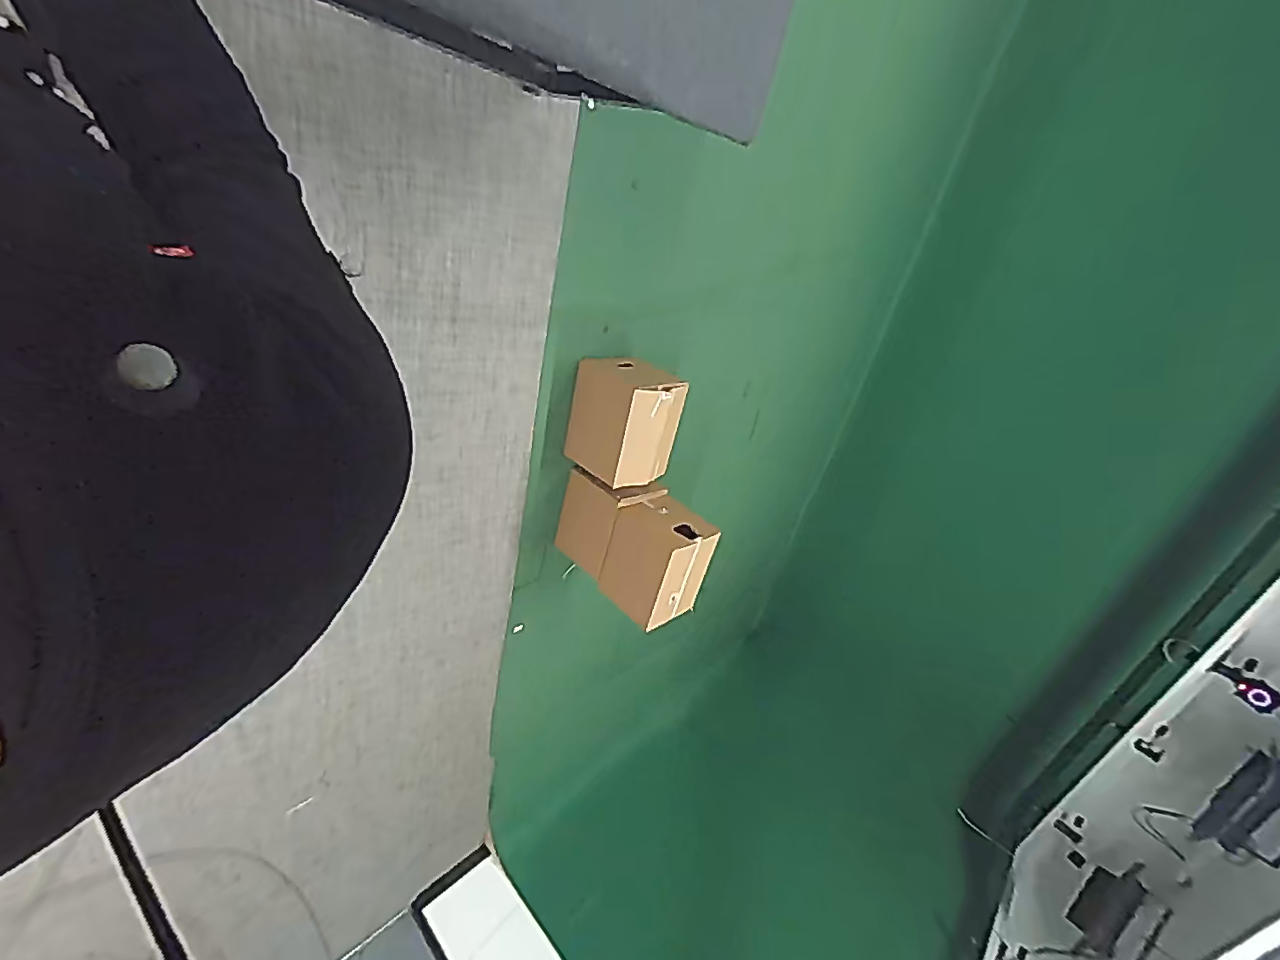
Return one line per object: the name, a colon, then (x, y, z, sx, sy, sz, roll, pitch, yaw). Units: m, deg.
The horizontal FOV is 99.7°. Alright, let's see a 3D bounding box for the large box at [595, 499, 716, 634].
large box: (0.056, 0.344, 2.236, 0.320, 0.320, 0.408, -12, 128, -46)
